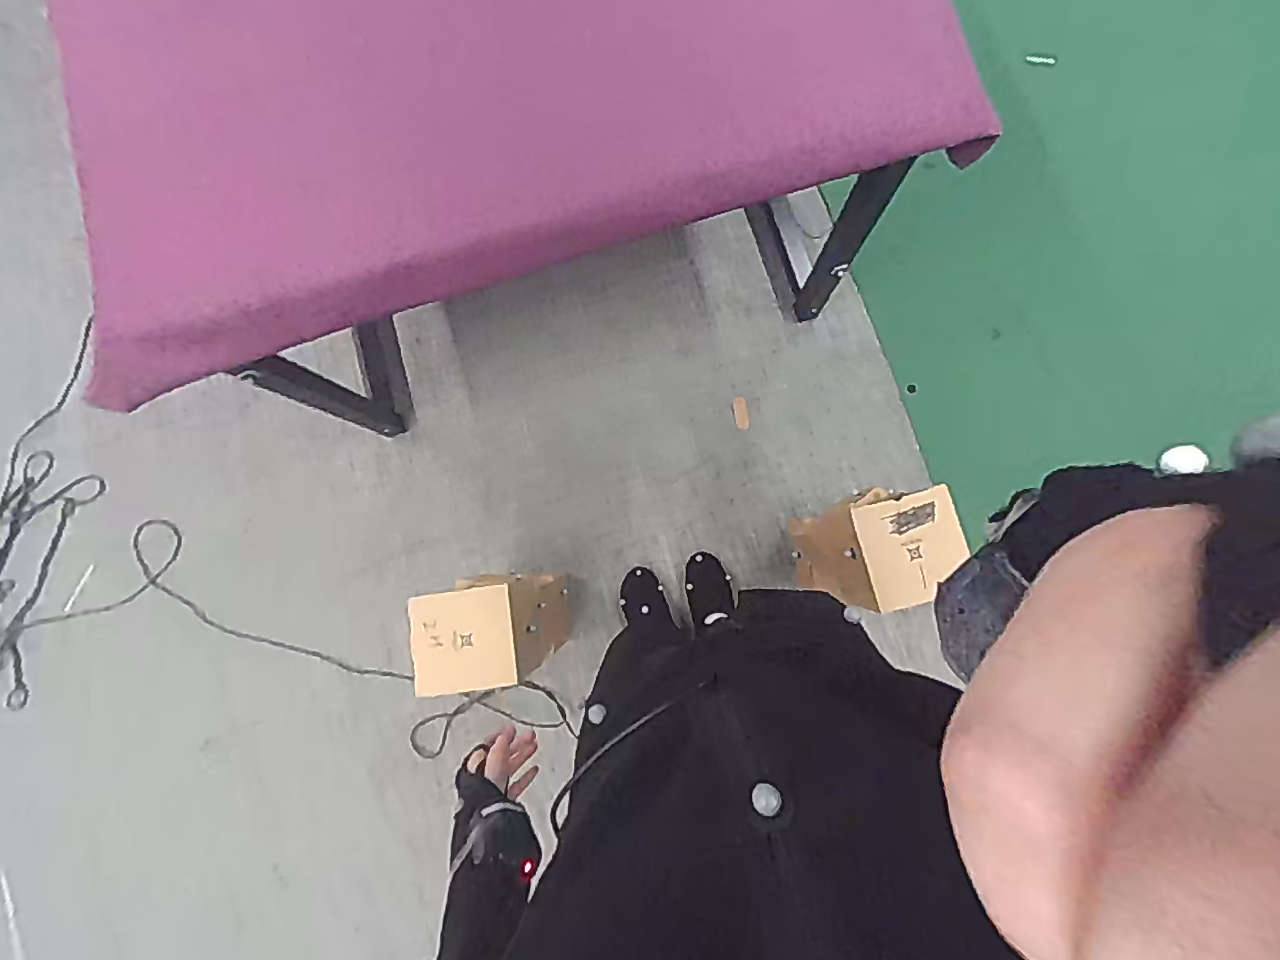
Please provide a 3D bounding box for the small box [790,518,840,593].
[{"bbox_3d":[0.458,0.174,1.272,0.179,0.176,0.168,-6,83,3],"label":"small box"}]

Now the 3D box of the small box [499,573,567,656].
[{"bbox_3d":[-0.271,0.314,1.292,0.168,0.176,0.179,-1,83,3],"label":"small box"}]

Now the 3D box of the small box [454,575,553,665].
[{"bbox_3d":[-0.287,0.298,1.131,0.168,0.176,0.179,5,82,5],"label":"small box"}]

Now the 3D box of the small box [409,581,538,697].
[{"bbox_3d":[-0.287,0.275,0.968,0.179,0.176,0.168,-8,81,3],"label":"small box"}]

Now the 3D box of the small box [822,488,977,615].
[{"bbox_3d":[0.439,0.125,0.947,0.168,0.176,0.179,-14,83,0],"label":"small box"}]
